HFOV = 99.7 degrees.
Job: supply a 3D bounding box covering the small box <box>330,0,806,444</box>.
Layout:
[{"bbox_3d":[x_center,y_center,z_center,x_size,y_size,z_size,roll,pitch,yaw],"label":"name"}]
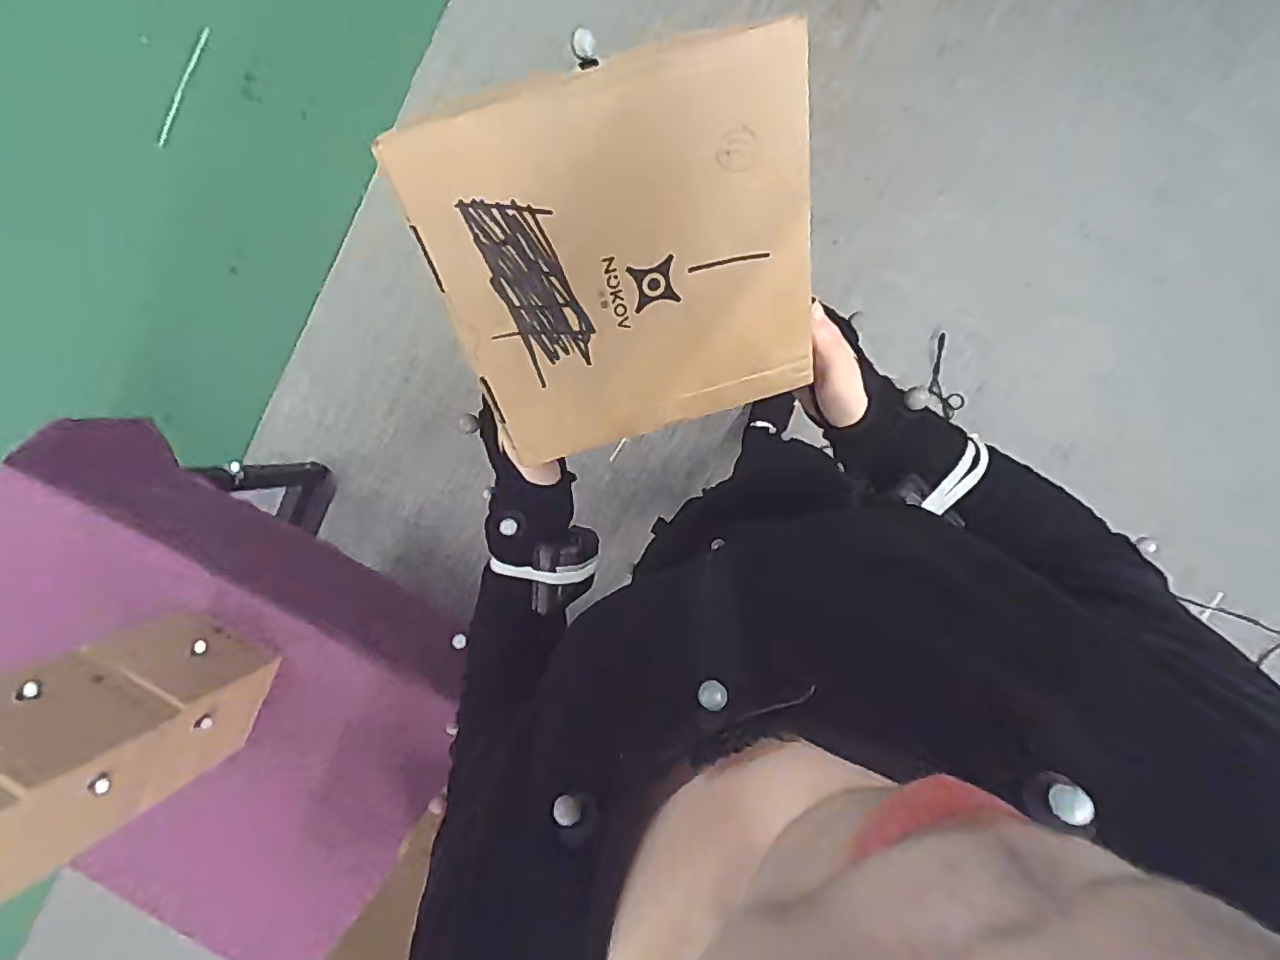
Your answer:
[{"bbox_3d":[-0.024,-0.151,0.308,0.179,0.176,0.168,-17,128,6],"label":"small box"}]
